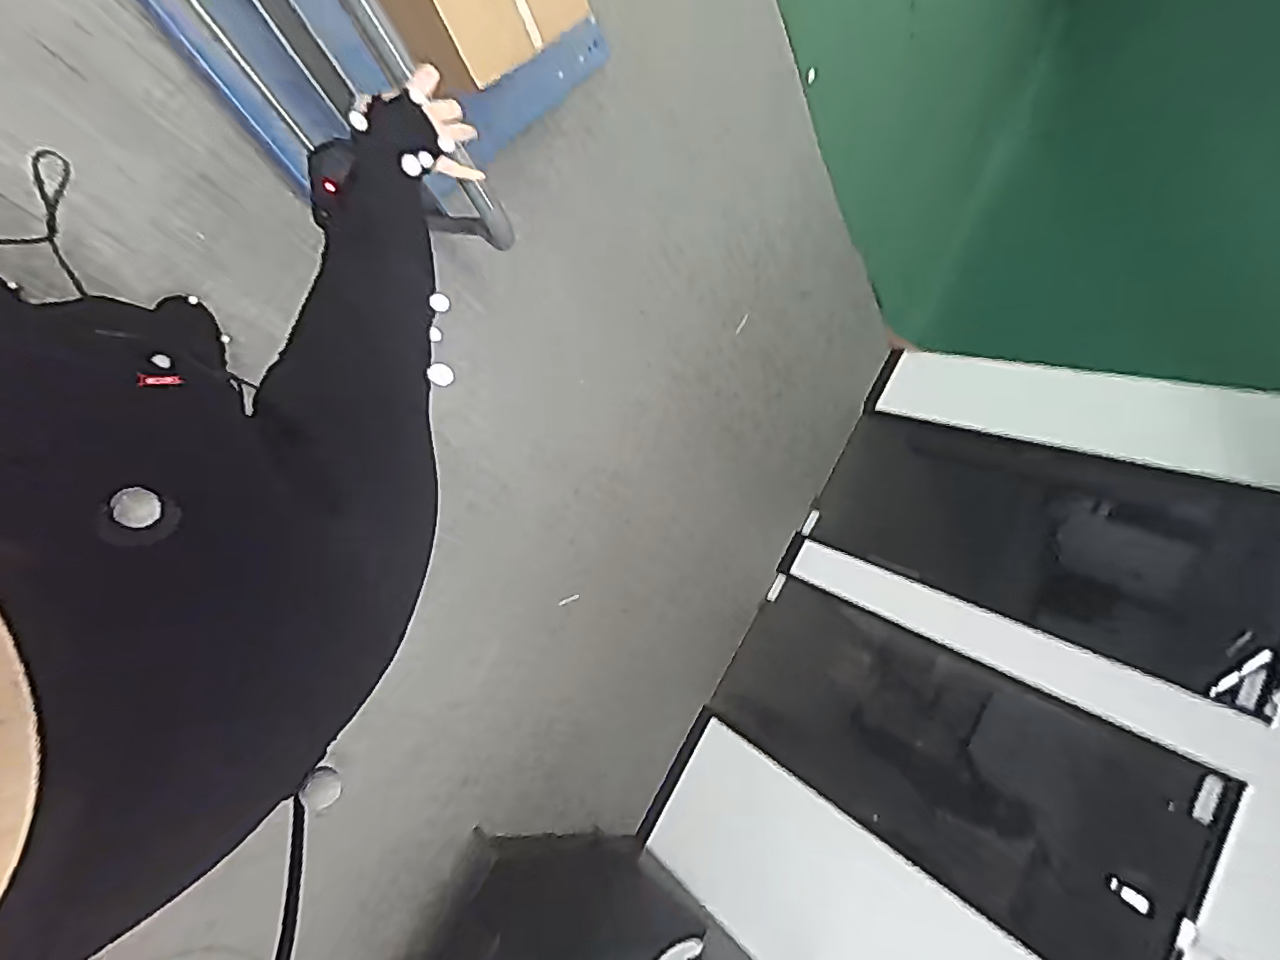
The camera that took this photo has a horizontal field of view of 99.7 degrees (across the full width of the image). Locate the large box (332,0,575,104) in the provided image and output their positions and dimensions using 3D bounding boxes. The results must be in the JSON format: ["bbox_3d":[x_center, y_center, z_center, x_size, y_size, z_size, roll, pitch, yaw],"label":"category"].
[{"bbox_3d":[-0.399,-0.989,0.976,0.320,0.320,0.408,-49,136,-19],"label":"large box"}]
